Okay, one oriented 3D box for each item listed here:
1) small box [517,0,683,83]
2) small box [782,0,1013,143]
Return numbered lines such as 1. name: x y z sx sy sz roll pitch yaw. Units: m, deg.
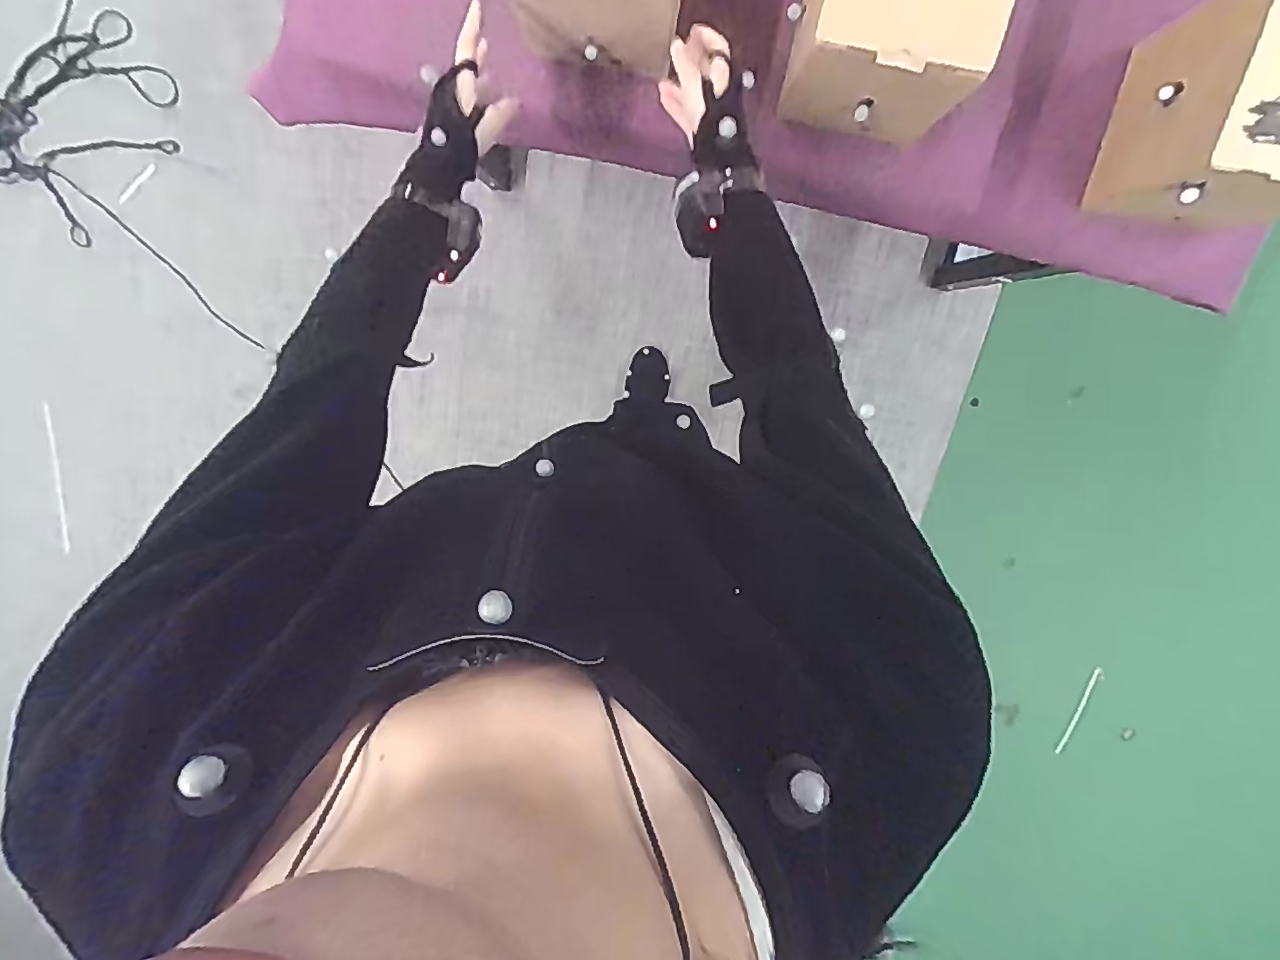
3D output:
1. small box: -0.035 -0.547 0.541 0.168 0.176 0.179 12 104 0
2. small box: 0.255 -0.474 0.547 0.168 0.176 0.179 12 104 -2
